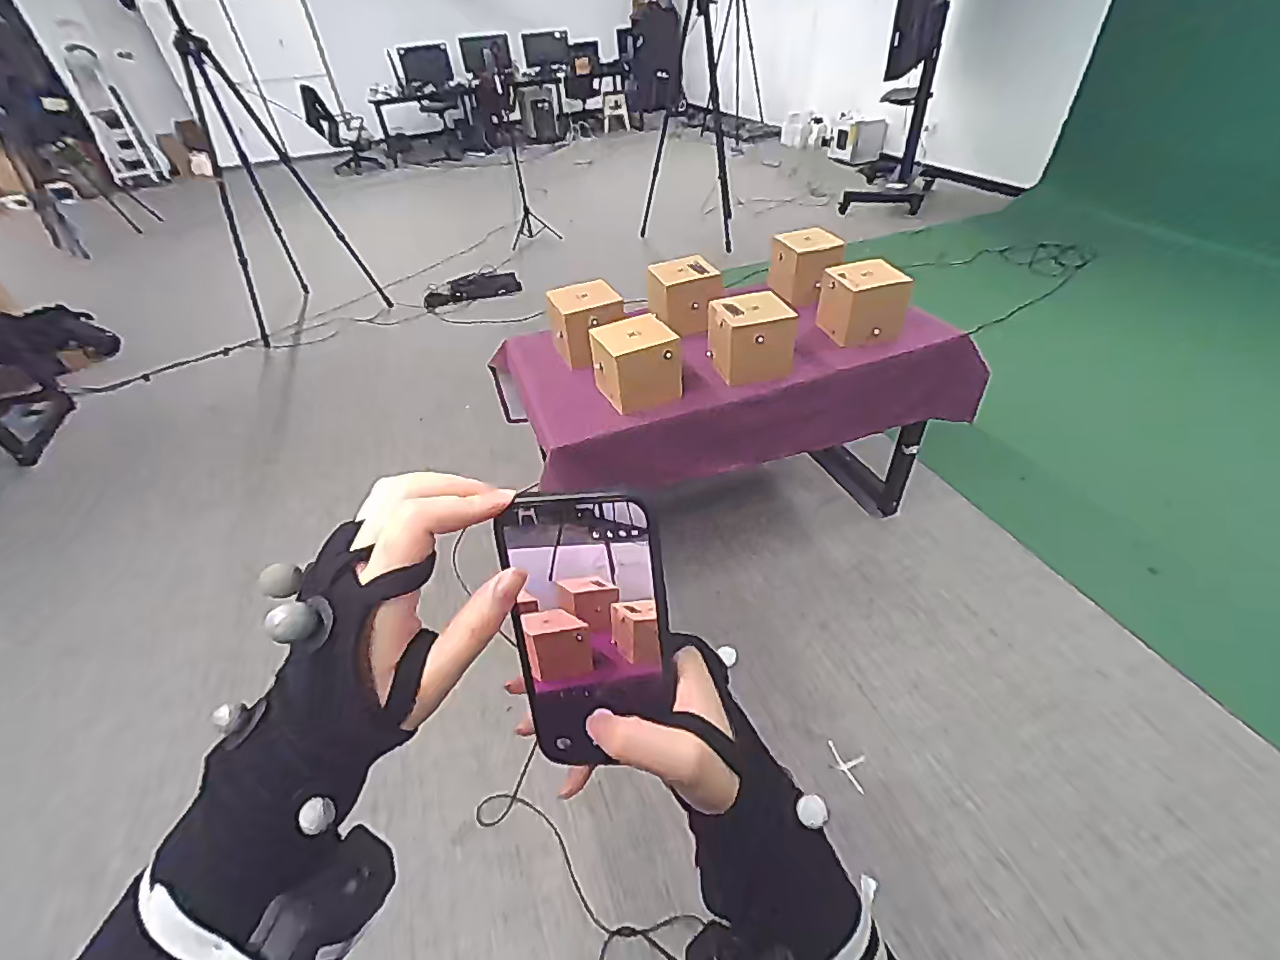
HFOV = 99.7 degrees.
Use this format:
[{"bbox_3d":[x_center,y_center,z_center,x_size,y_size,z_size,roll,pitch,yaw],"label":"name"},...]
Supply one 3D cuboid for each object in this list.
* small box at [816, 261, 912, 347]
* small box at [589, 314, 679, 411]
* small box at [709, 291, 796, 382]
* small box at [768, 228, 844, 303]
[{"bbox_3d":[0.622,-0.497,1.525,0.179,0.176,0.168,-11,42,-8],"label":"small box"},{"bbox_3d":[-0.010,-0.295,1.365,0.179,0.176,0.168,-20,44,-18],"label":"small box"},{"bbox_3d":[0.288,-0.374,1.422,0.179,0.176,0.168,-12,42,-9],"label":"small box"},{"bbox_3d":[0.530,-0.694,1.751,0.168,0.176,0.179,-14,44,-9],"label":"small box"}]
